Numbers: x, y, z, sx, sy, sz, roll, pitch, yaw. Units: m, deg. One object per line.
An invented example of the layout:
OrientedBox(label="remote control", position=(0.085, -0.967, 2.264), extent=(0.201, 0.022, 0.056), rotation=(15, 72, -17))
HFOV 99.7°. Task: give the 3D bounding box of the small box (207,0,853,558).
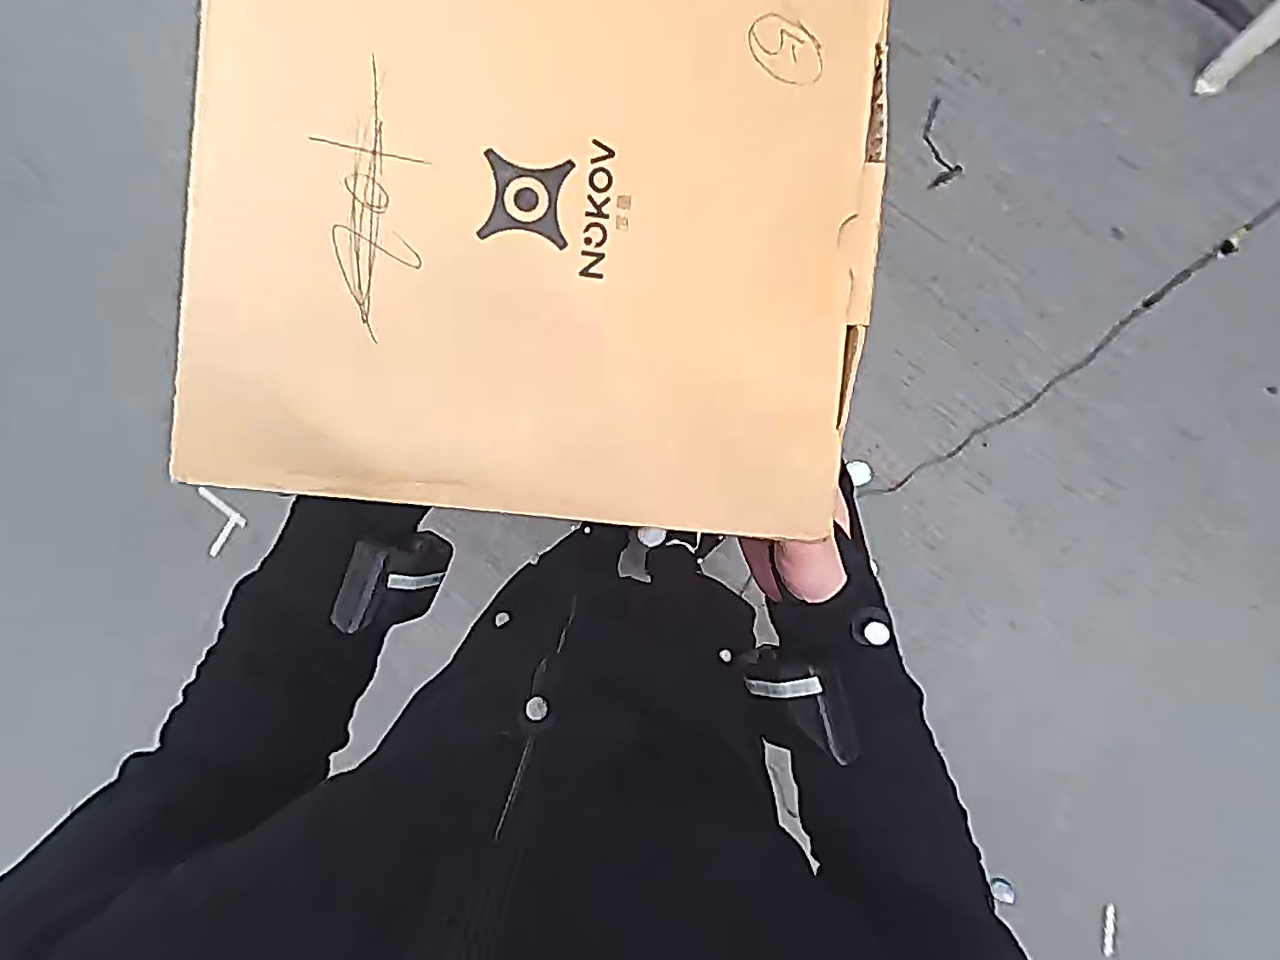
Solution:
OrientedBox(label="small box", position=(-0.034, -0.066, 0.236), extent=(0.179, 0.176, 0.168), rotation=(5, 90, -3))
